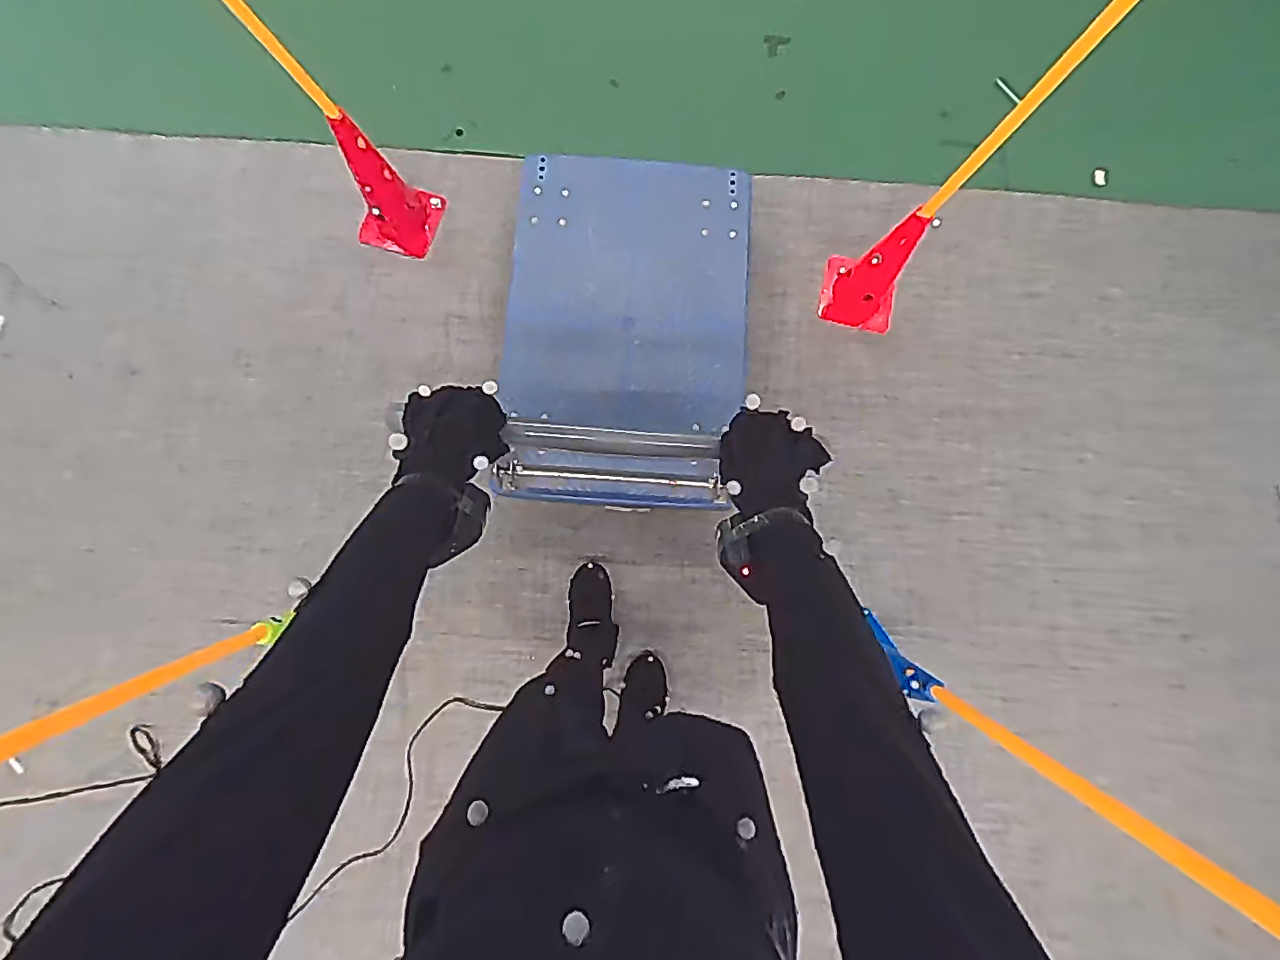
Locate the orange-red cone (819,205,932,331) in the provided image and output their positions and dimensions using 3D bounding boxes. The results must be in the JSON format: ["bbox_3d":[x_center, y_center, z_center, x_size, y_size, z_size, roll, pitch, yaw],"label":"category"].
[{"bbox_3d":[0.613,-0.549,1.342,0.198,0.360,0.199,15,81,2],"label":"orange-red cone"}]
